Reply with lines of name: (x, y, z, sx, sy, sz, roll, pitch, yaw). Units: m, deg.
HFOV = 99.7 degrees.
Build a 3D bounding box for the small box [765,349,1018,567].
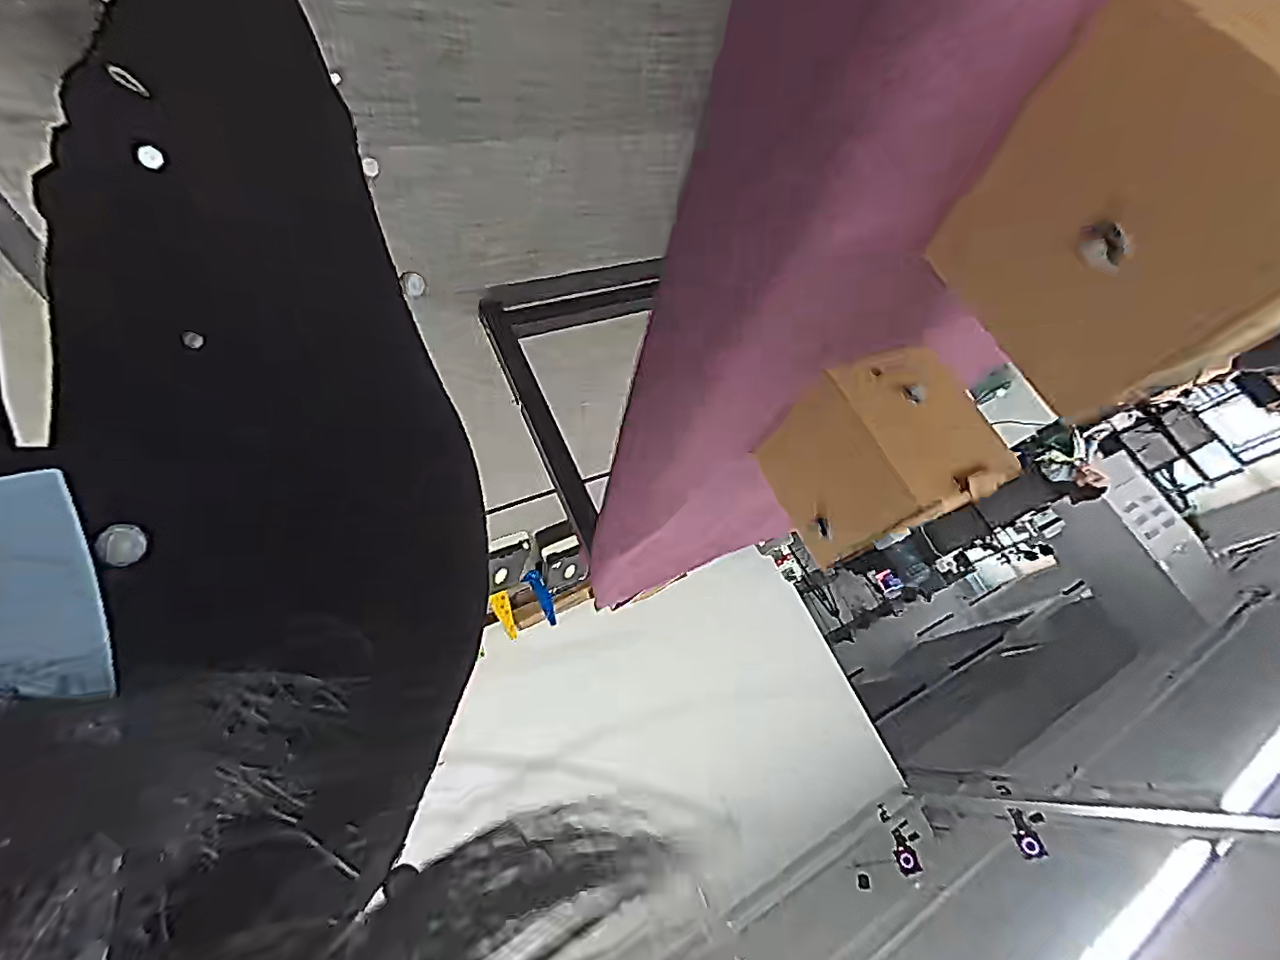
small box: (0.273, -0.025, 0.631, 0.168, 0.176, 0.179, -18, 159, -26)
